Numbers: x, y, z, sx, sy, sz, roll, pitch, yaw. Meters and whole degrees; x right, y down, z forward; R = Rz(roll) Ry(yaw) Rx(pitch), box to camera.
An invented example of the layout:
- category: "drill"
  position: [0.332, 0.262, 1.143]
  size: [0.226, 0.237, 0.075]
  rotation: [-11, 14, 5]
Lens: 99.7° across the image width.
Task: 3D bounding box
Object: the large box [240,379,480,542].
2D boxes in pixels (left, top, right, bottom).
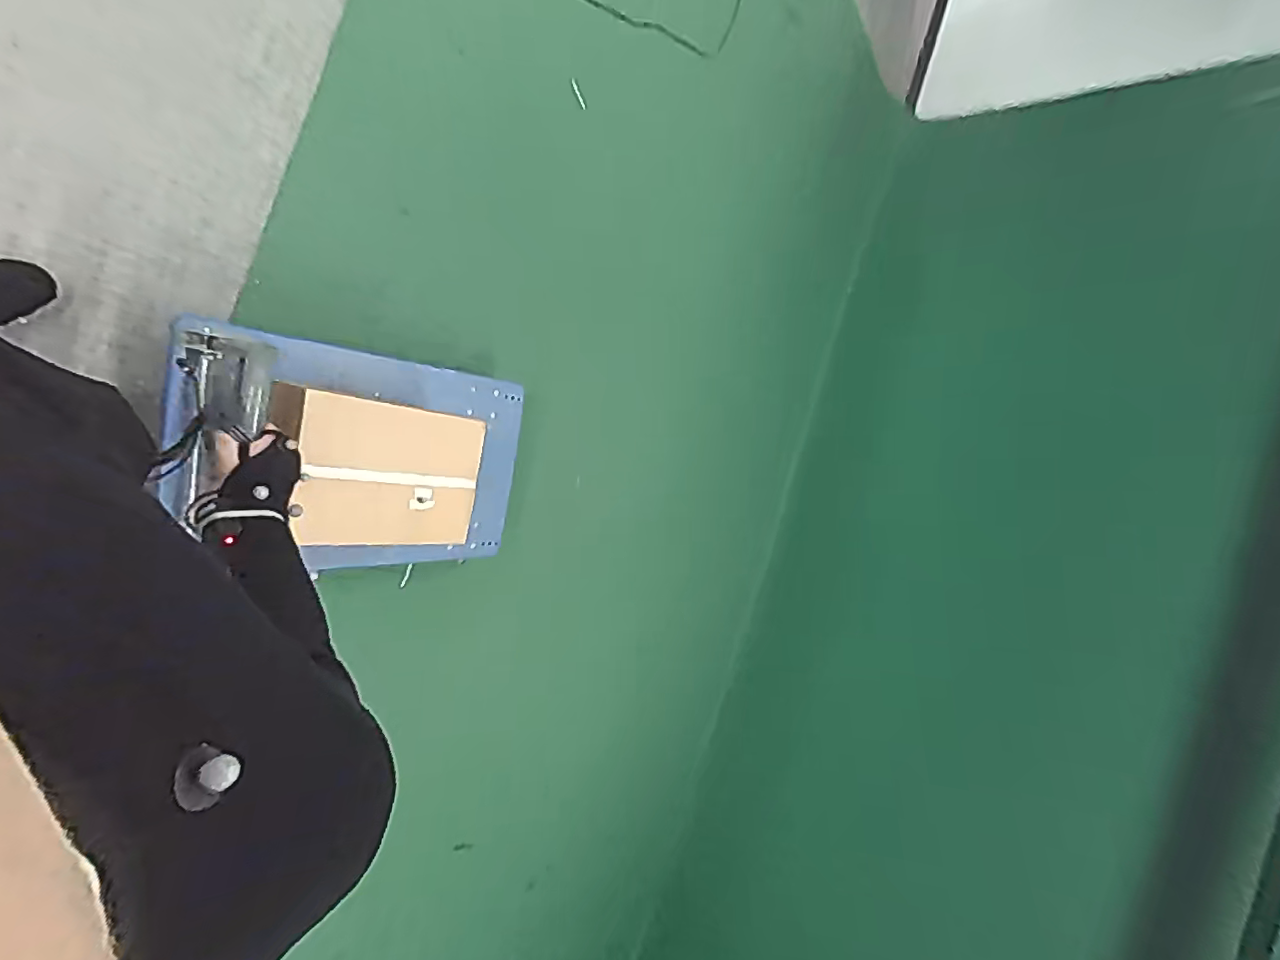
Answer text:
- category: "large box"
  position: [-0.661, -0.045, 1.288]
  size: [0.408, 0.320, 0.320]
  rotation: [7, 97, -50]
